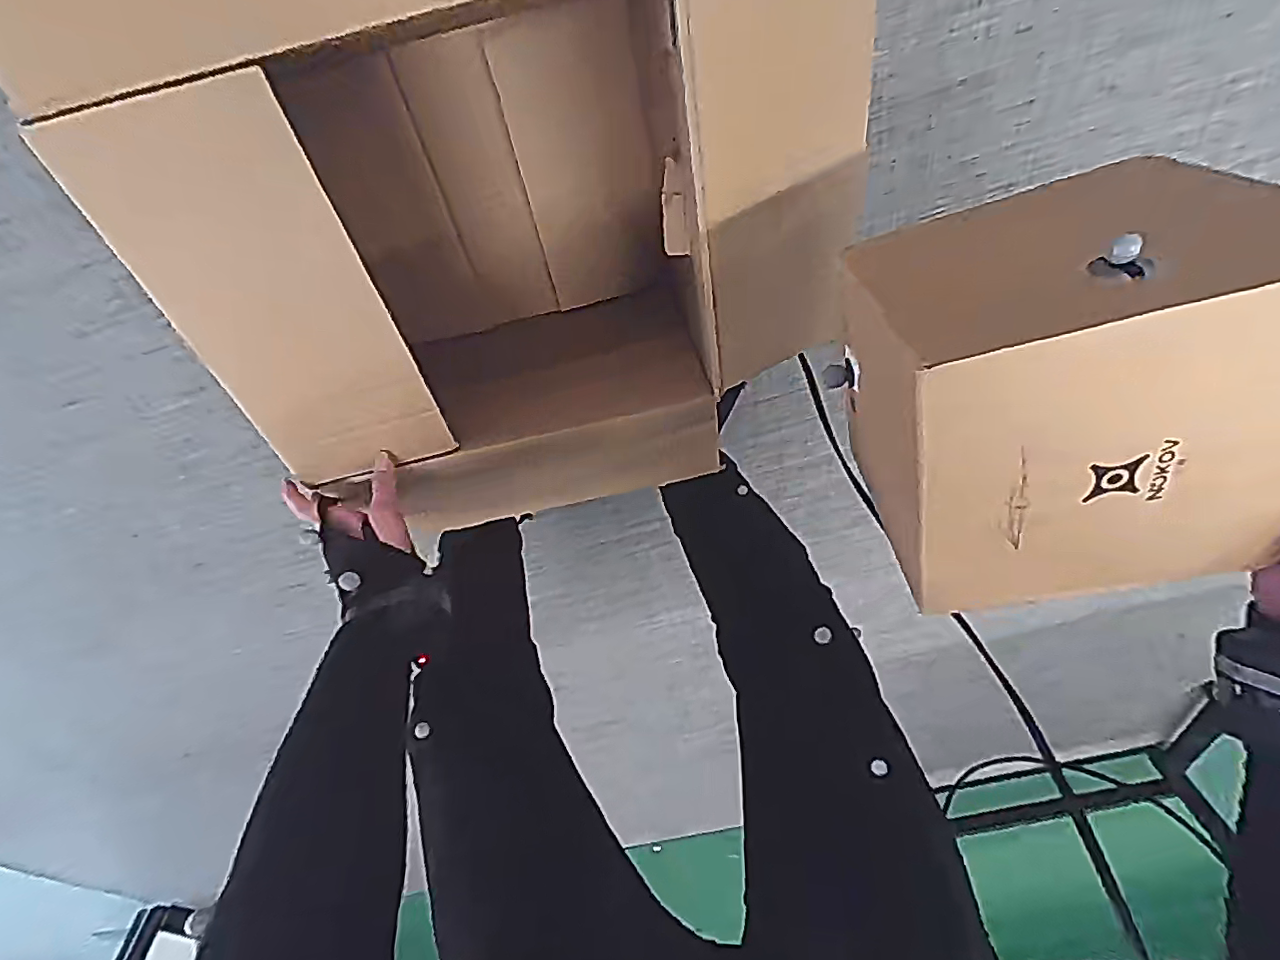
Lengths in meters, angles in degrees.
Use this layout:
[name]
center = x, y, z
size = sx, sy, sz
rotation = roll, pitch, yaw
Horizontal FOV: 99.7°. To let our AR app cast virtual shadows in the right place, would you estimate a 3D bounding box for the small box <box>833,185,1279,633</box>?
[small box]
center = 0.219, -0.043, 0.299
size = 0.179, 0.176, 0.168
rotation = -11, 125, 13
